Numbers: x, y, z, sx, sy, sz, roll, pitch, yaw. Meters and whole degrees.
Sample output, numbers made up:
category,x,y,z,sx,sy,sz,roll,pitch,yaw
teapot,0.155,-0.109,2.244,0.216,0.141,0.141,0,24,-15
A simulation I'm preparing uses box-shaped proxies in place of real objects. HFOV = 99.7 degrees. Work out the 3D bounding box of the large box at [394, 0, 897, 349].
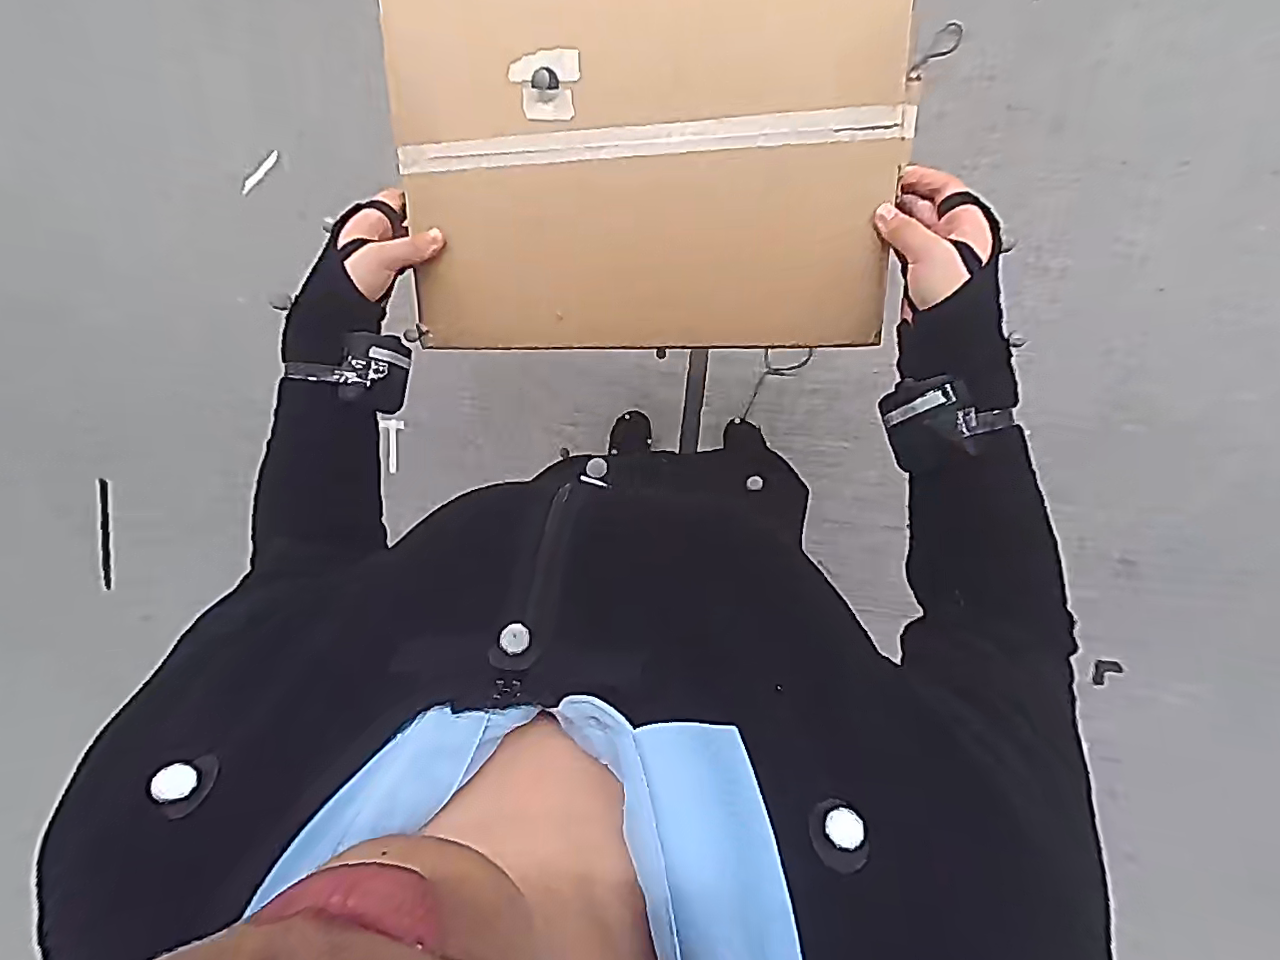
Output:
category,x,y,z,sx,sy,sz,roll,pitch,yaw
large box,0.022,-0.308,0.584,0.408,0.320,0.320,2,104,11
